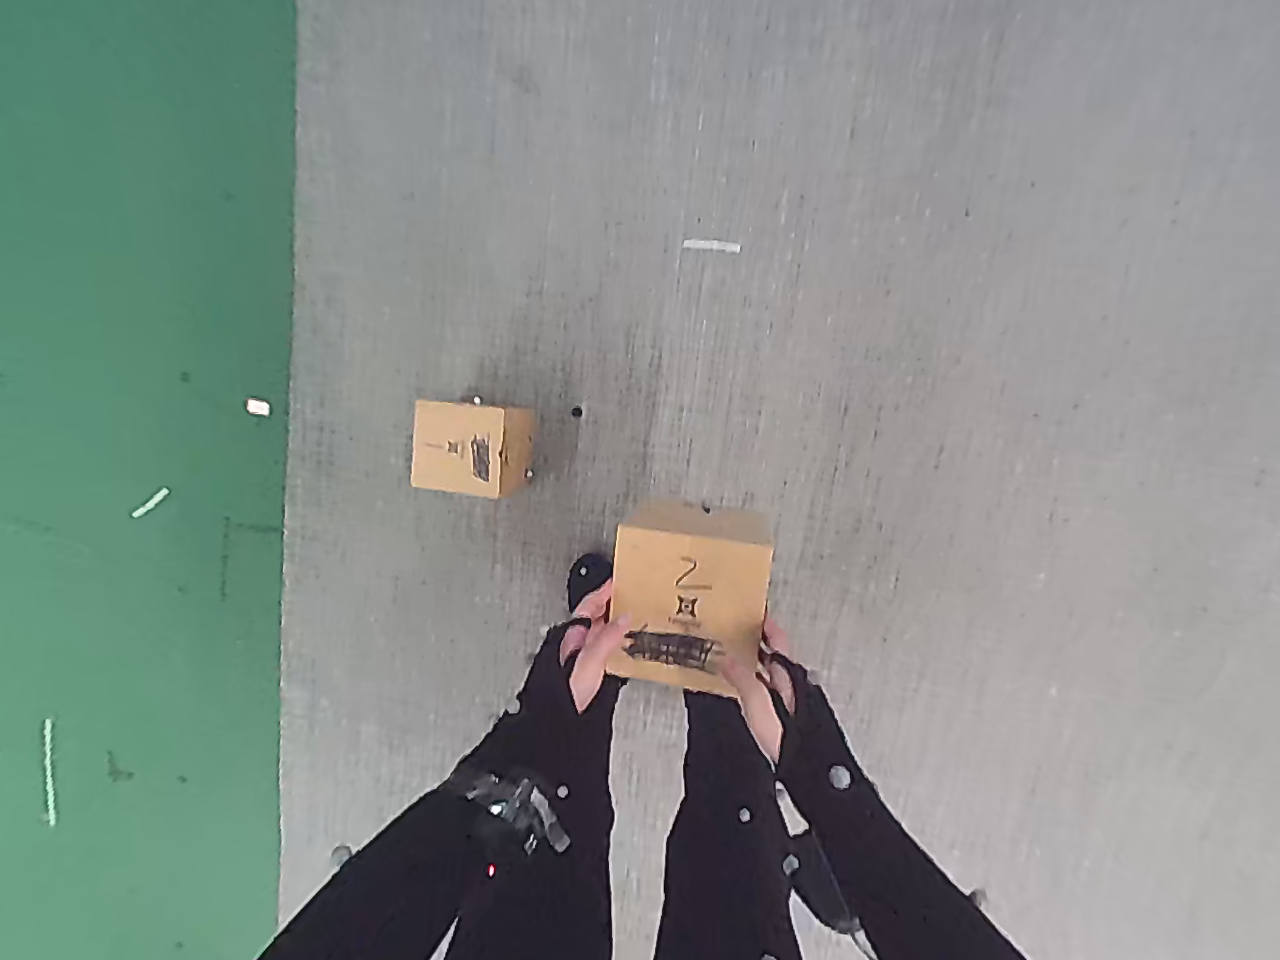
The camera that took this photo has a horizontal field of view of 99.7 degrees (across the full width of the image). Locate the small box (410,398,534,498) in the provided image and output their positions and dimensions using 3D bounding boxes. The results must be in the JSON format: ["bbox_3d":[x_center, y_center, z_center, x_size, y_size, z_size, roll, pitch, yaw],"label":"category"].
[{"bbox_3d":[-0.318,-0.067,1.050,0.179,0.176,0.168,8,97,7],"label":"small box"}]
